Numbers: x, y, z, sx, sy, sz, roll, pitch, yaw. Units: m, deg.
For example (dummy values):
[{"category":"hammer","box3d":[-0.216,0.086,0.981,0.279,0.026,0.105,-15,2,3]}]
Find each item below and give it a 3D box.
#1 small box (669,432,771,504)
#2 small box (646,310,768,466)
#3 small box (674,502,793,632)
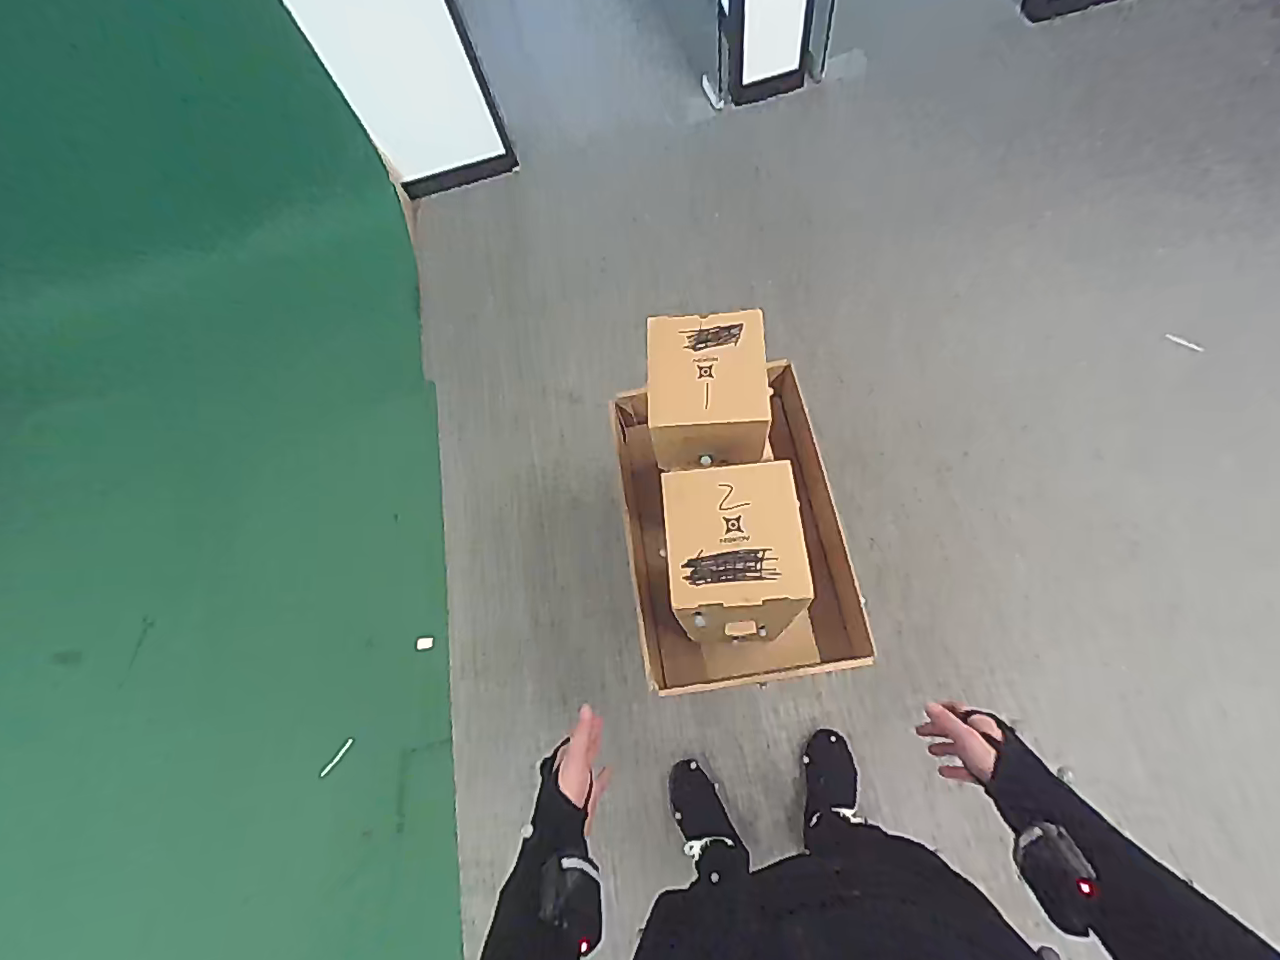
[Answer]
[{"category":"small box","box3d":[0.128,-0.073,0.973,0.168,0.176,0.179,-11,70,4]},{"category":"small box","box3d":[0.100,-0.132,0.822,0.168,0.176,0.179,-2,71,8]},{"category":"small box","box3d":[0.148,0.150,0.879,0.168,0.176,0.179,-5,67,6]}]
